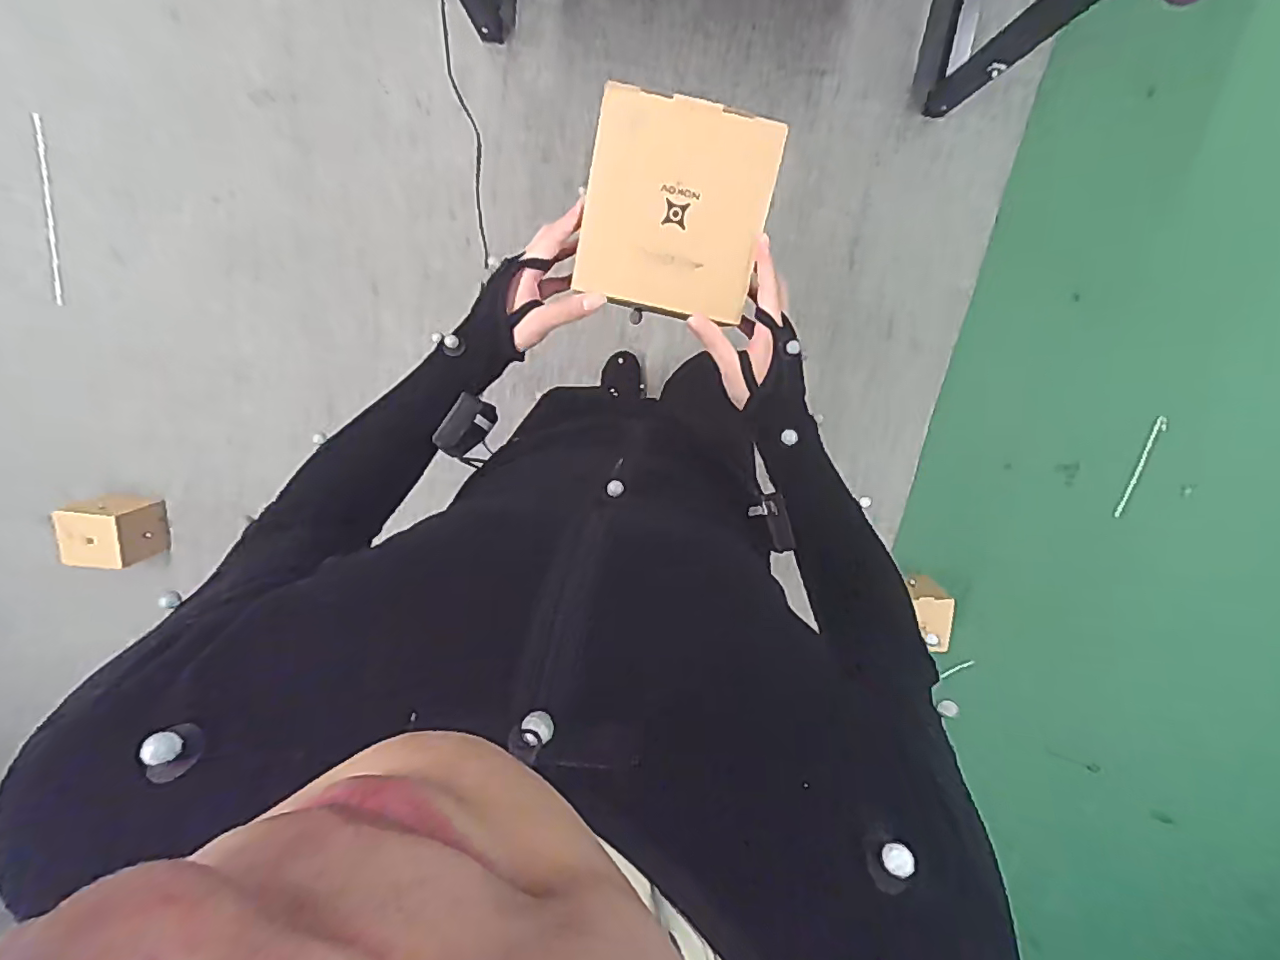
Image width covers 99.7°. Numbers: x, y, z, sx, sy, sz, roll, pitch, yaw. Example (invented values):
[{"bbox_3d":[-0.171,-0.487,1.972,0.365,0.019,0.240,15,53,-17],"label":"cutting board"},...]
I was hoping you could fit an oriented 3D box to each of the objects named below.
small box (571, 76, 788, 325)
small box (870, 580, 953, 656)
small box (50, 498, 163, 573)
[{"bbox_3d":[0.032,-0.268,0.565,0.168,0.176,0.179,12,105,-3],"label":"small box"},{"bbox_3d":[0.823,0.416,1.655,0.168,0.176,0.179,-1,105,1],"label":"small box"},{"bbox_3d":[-1.568,0.159,1.606,0.179,0.176,0.168,6,104,-1],"label":"small box"}]
